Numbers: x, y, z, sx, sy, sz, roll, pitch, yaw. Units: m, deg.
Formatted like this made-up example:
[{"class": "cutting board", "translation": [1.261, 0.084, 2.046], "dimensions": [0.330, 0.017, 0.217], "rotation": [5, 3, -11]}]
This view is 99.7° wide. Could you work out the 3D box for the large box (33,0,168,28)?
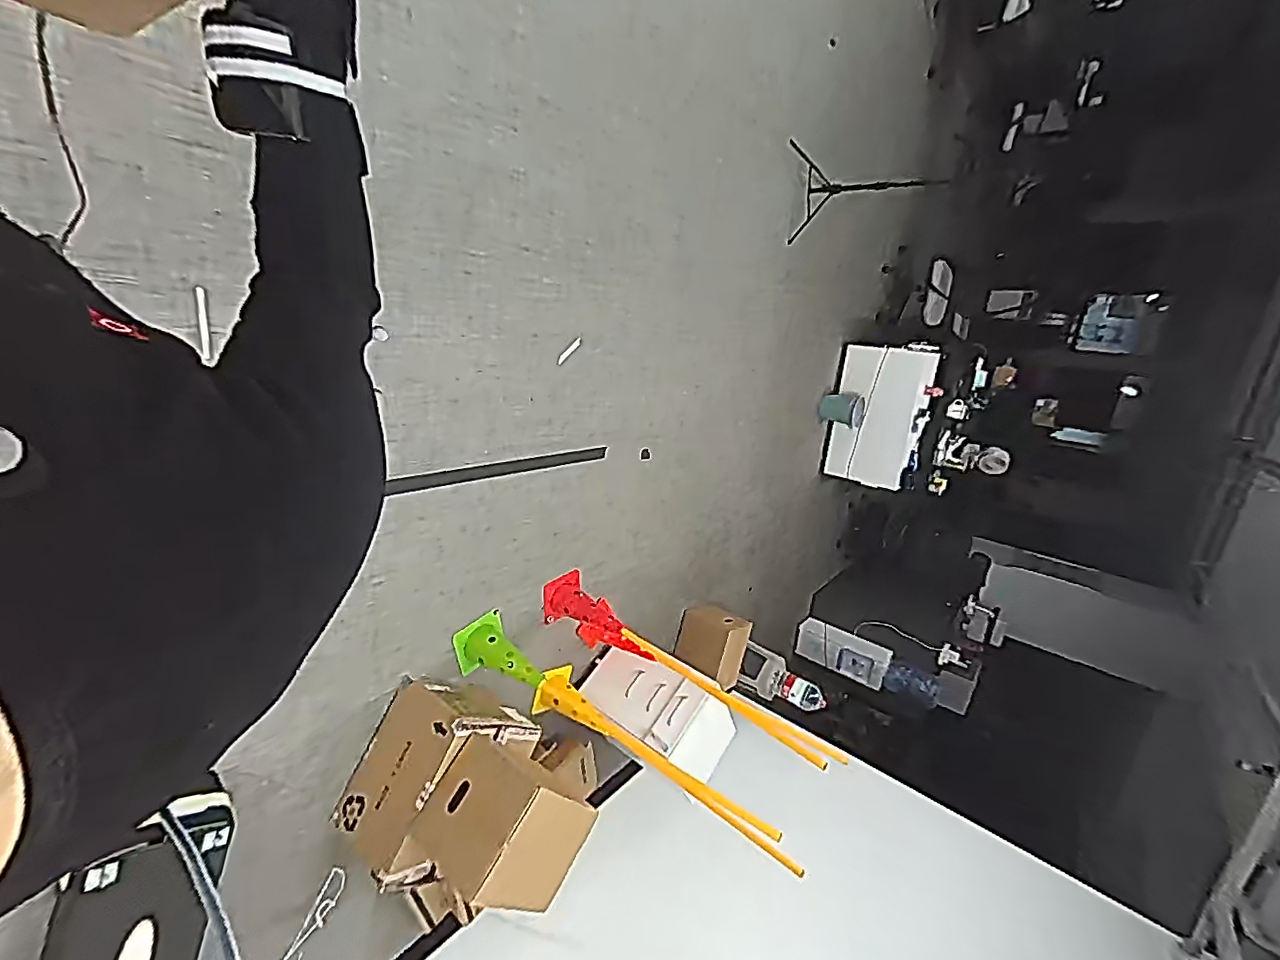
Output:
[{"class": "large box", "translation": [-0.452, -0.473, 0.211], "dimensions": [0.408, 0.320, 0.320], "rotation": [-13, 120, -52]}]
